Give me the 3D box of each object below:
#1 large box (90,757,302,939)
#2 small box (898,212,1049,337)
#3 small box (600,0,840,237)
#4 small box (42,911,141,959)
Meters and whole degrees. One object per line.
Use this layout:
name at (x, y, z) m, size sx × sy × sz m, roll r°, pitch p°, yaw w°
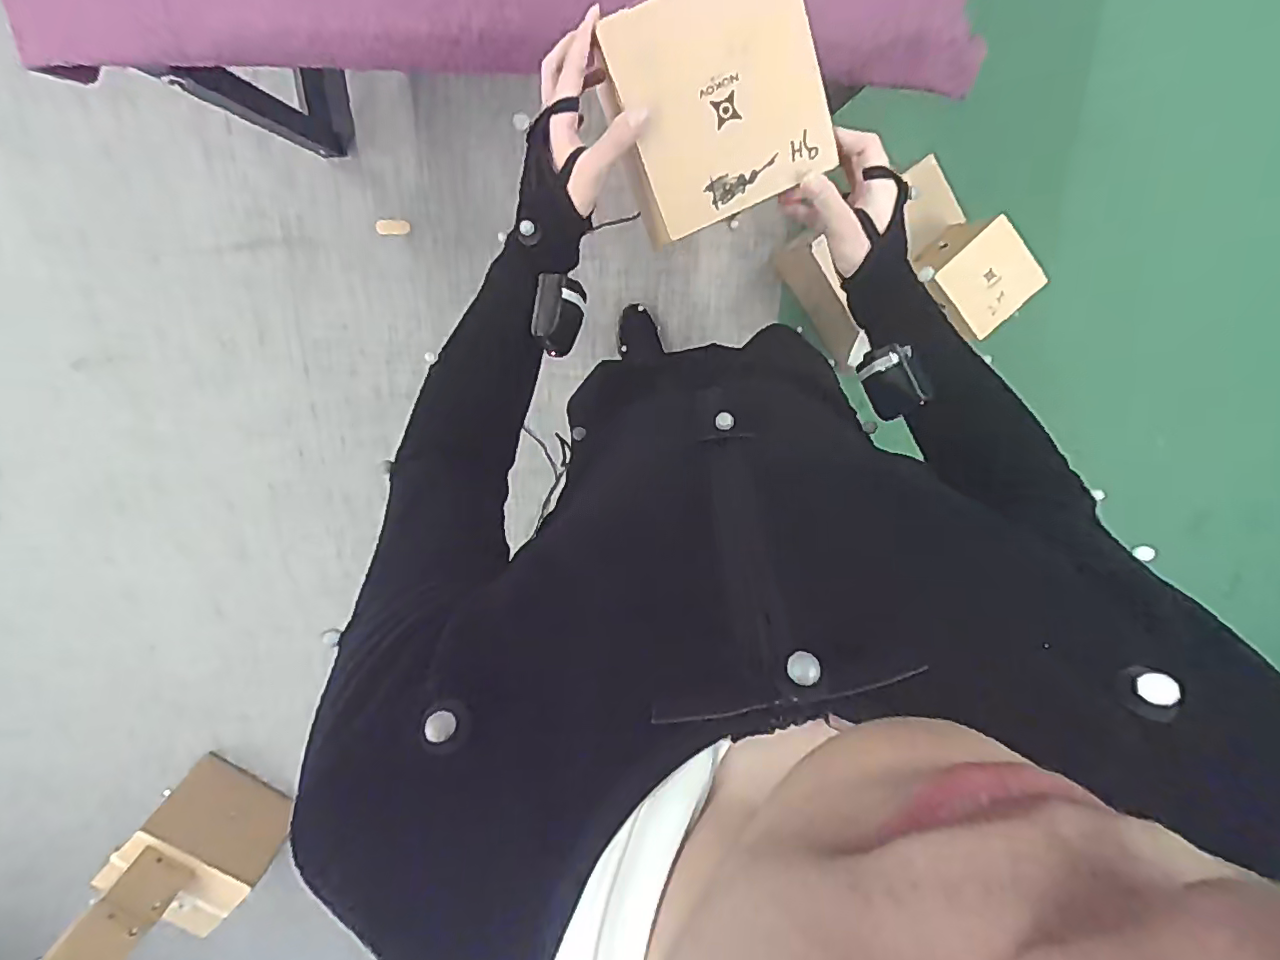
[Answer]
large box at (-1.499, 1.256, 1.863) m, size 0.408 × 0.320 × 0.320 m, roll 42°, pitch 103°, yaw -15°
small box at (0.685, -0.420, 1.132) m, size 0.168 × 0.176 × 0.179 m, roll -43°, pitch 105°, yaw 10°
small box at (0.065, -0.357, 0.527) m, size 0.168 × 0.176 × 0.179 m, roll -22°, pitch 112°, yaw 5°
small box at (-1.509, 1.312, 1.449) m, size 0.179 × 0.176 × 0.168 m, roll -43°, pitch 105°, yaw 12°
